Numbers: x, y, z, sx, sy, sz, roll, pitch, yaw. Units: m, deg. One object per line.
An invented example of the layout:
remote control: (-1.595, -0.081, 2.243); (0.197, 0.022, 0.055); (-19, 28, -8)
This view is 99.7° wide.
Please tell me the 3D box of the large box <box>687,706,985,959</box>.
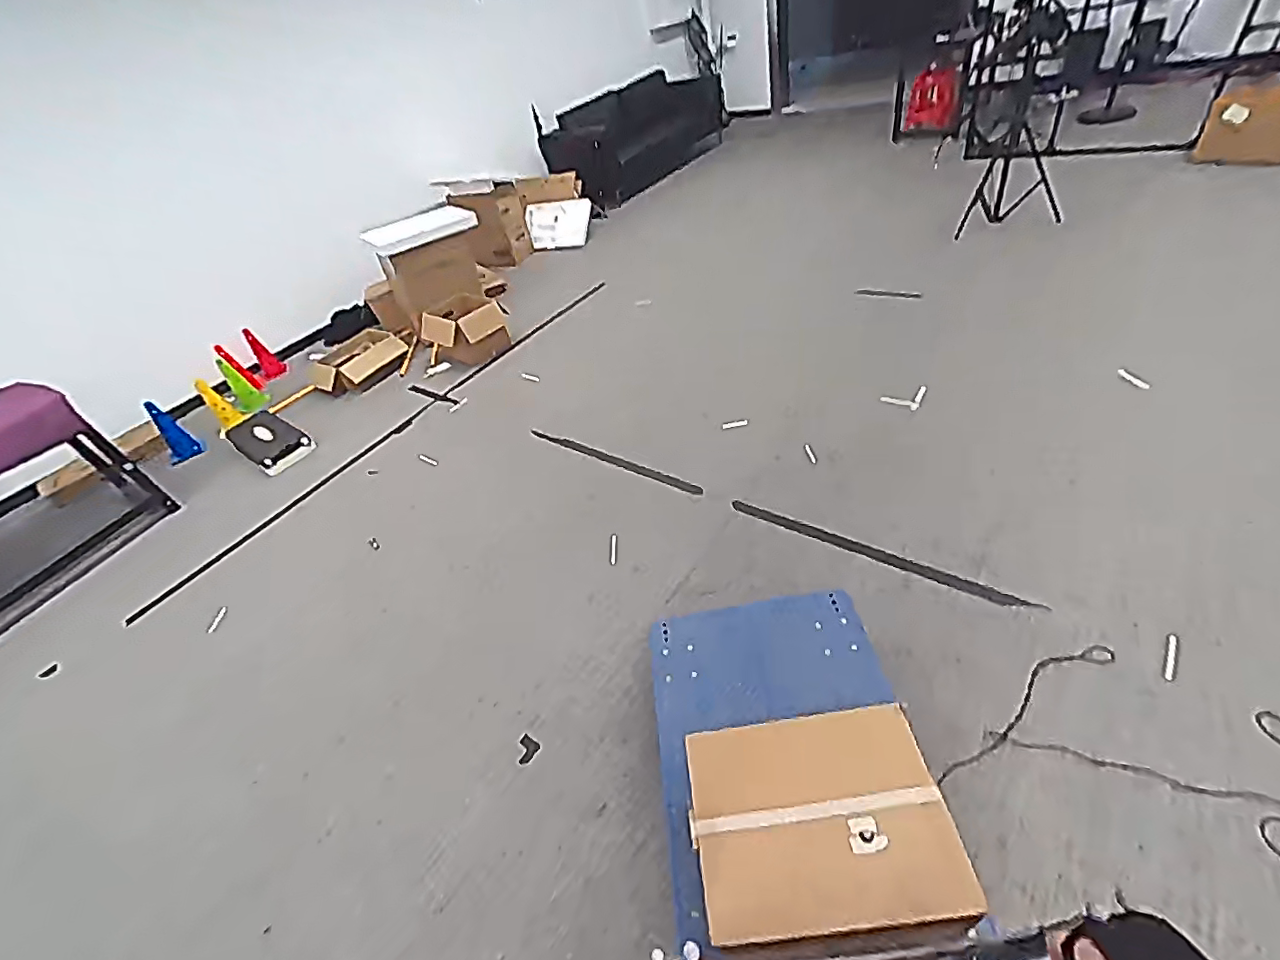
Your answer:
large box: (0.320, 0.666, 0.997); (0.408, 0.320, 0.320); (-11, 42, 4)
